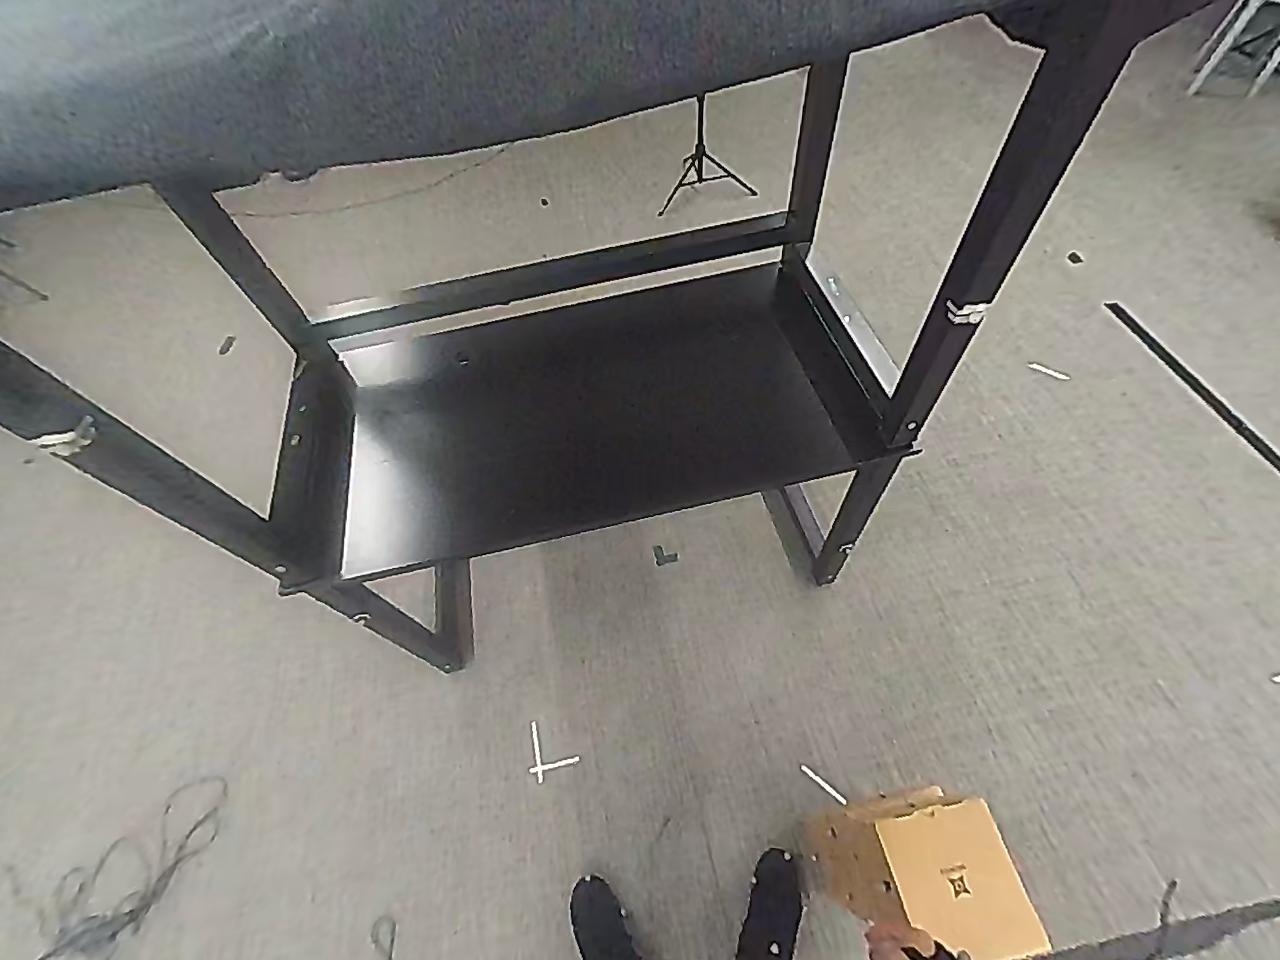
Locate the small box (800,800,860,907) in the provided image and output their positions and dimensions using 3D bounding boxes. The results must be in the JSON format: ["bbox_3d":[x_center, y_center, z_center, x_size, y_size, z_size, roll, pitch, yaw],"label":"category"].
[{"bbox_3d":[0.484,0.833,1.222,0.179,0.176,0.168,-13,58,-2],"label":"small box"}]

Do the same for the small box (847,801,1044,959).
[{"bbox_3d":[0.431,0.589,0.799,0.168,0.176,0.179,-12,58,-1],"label":"small box"}]

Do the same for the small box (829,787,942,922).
[{"bbox_3d":[0.449,0.655,0.948,0.179,0.176,0.168,-14,59,-4],"label":"small box"}]
